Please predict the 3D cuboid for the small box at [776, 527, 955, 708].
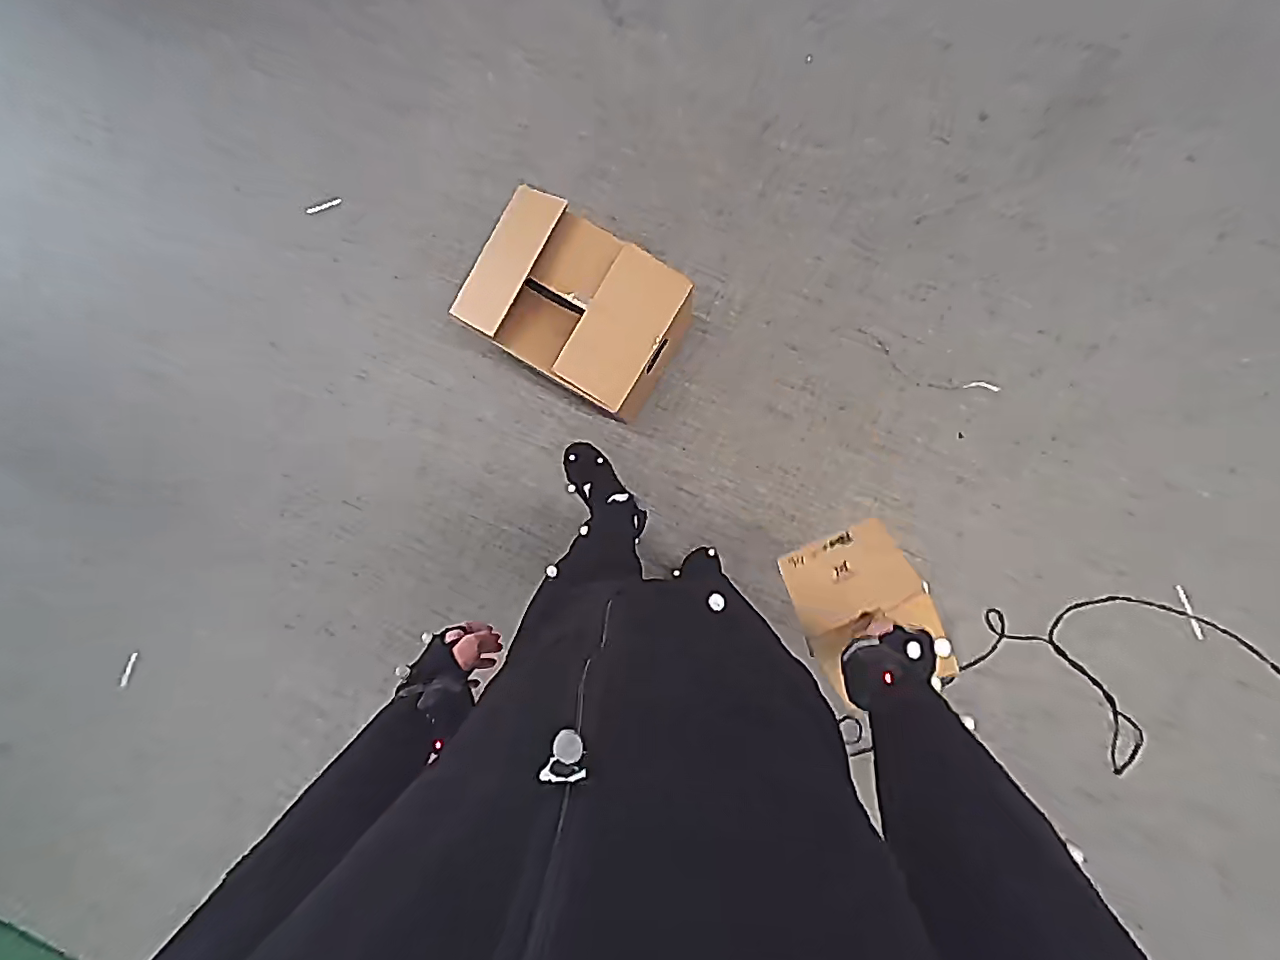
[{"bbox_3d":[0.330,0.209,0.805,0.168,0.179,0.176,-29,114,12],"label":"small box"}]
